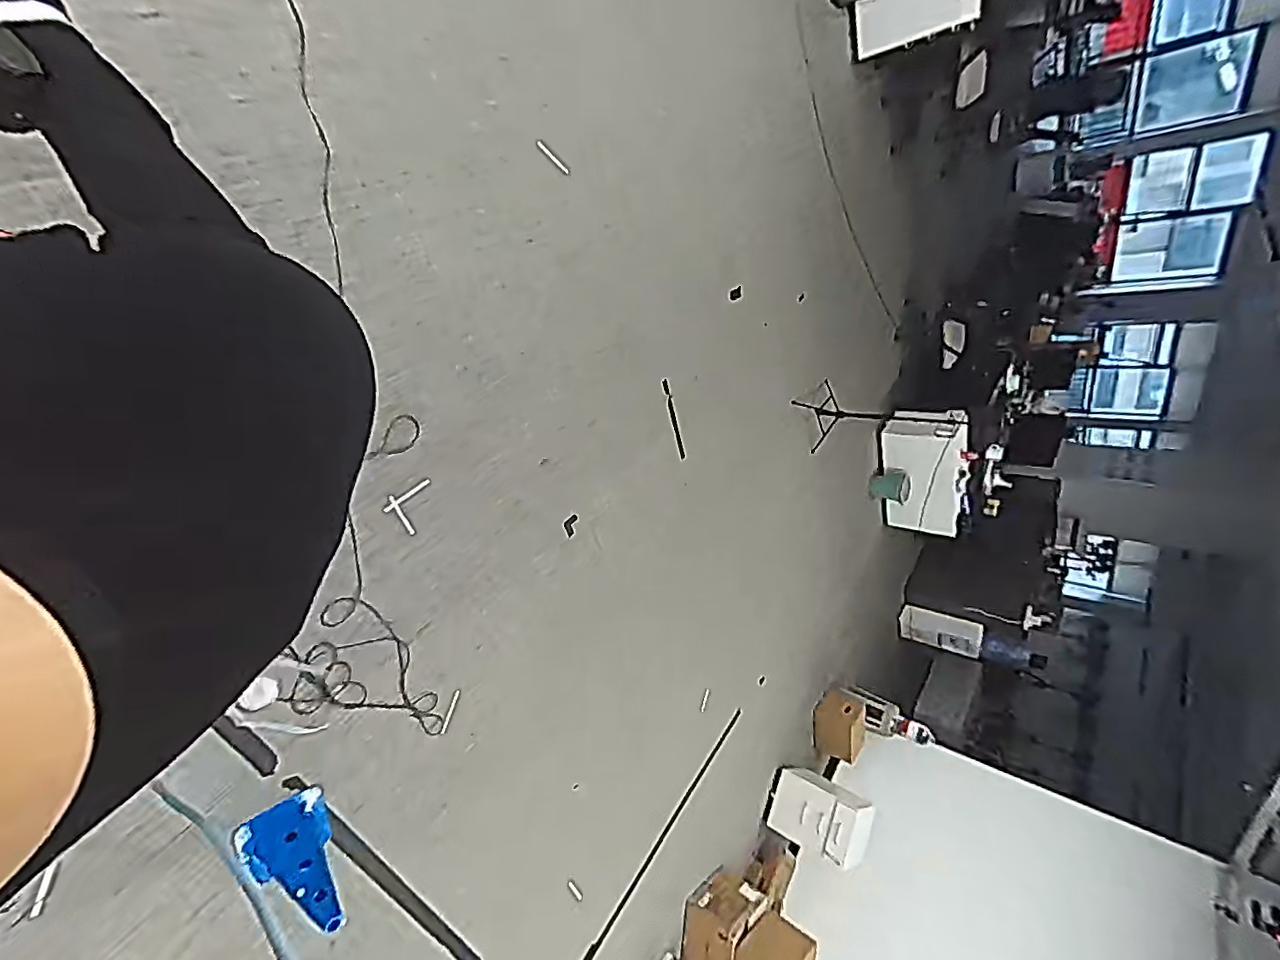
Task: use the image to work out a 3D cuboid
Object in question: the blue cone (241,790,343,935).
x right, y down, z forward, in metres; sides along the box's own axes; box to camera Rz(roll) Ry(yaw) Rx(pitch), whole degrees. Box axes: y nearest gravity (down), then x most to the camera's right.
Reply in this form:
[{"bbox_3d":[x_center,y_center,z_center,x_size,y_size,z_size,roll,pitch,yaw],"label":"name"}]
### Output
[{"bbox_3d":[-0.827,0.974,1.342,0.193,0.380,0.192,-16,110,-46],"label":"blue cone"}]
